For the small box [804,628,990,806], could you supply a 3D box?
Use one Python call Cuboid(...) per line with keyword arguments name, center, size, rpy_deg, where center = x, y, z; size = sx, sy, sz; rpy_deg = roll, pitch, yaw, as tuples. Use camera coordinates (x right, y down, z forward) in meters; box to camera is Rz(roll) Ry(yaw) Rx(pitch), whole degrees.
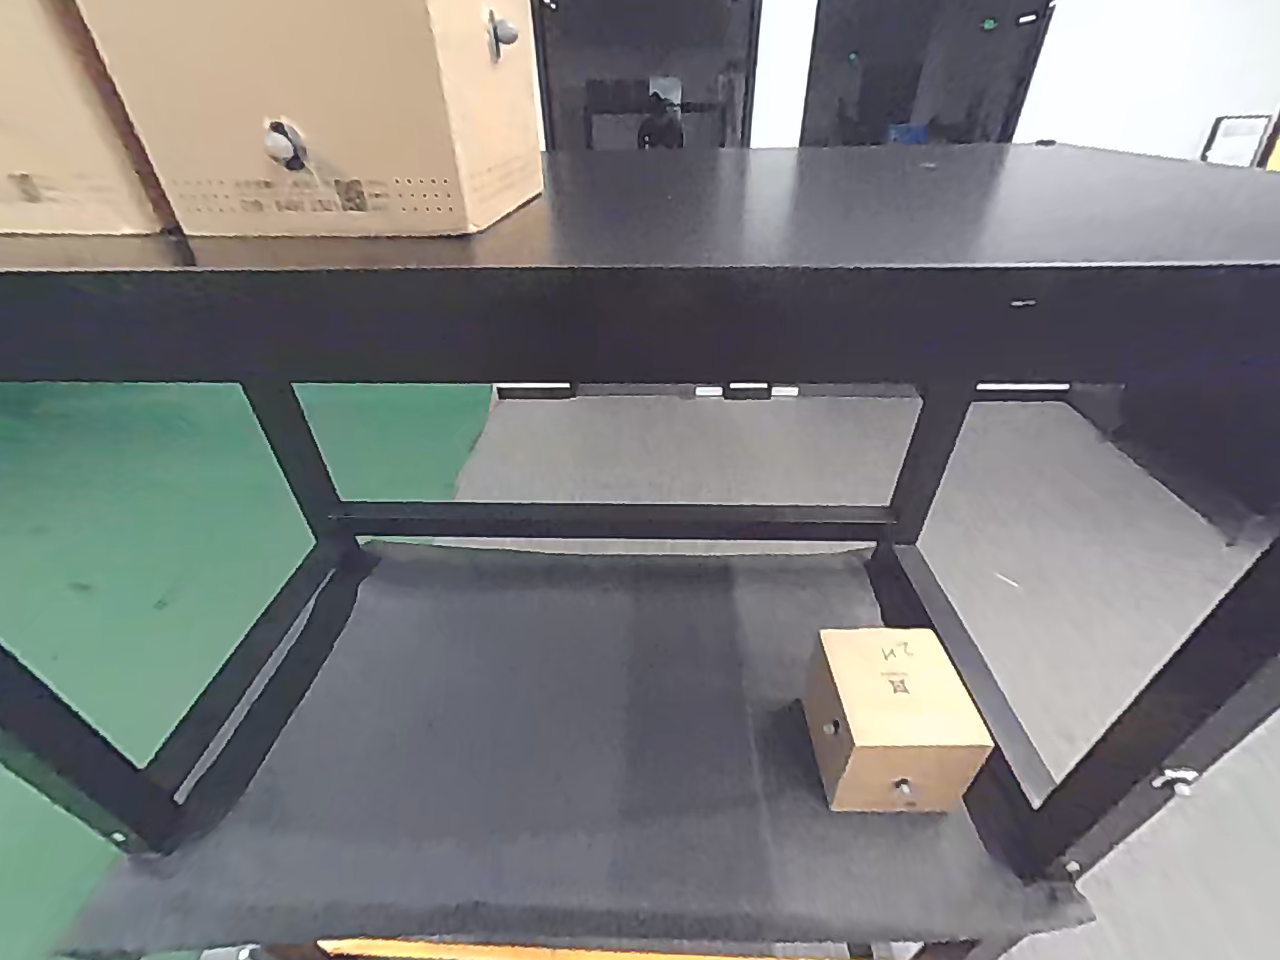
Cuboid(name="small box", center=(0.340, 0.330, 0.756), size=(0.168, 0.176, 0.179), rpy_deg=(-1, 34, 1))
